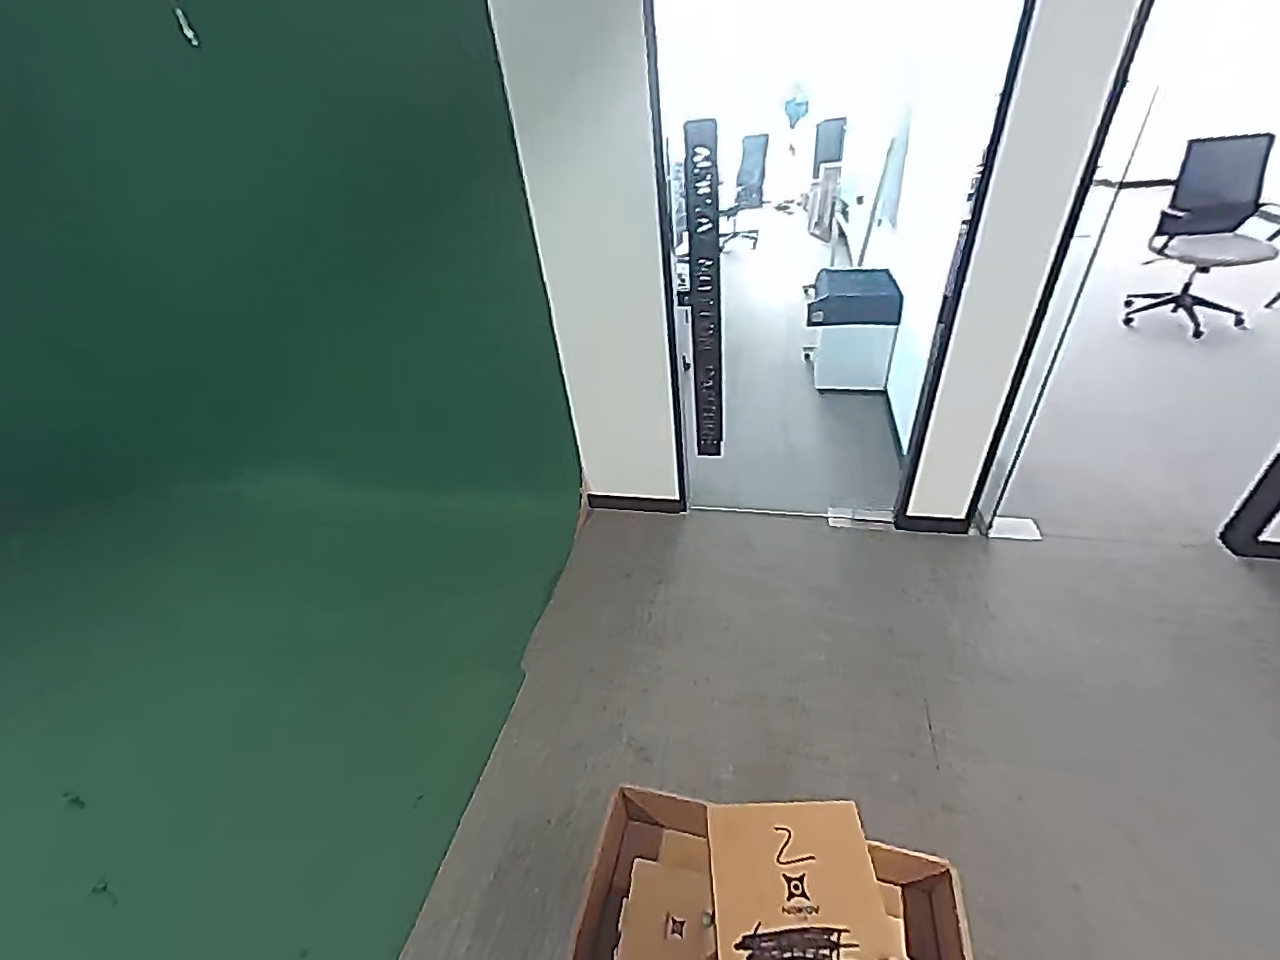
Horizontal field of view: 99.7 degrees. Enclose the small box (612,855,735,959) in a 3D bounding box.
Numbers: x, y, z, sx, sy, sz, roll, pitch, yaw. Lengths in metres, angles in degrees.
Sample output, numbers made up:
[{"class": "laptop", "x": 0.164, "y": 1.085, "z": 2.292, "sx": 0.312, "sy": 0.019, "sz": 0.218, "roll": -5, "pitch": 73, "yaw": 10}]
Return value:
[{"class": "small box", "x": 0.064, "y": 0.778, "z": 0.916, "sx": 0.179, "sy": 0.176, "sz": 0.168, "roll": 5, "pitch": 38, "yaw": 14}]
